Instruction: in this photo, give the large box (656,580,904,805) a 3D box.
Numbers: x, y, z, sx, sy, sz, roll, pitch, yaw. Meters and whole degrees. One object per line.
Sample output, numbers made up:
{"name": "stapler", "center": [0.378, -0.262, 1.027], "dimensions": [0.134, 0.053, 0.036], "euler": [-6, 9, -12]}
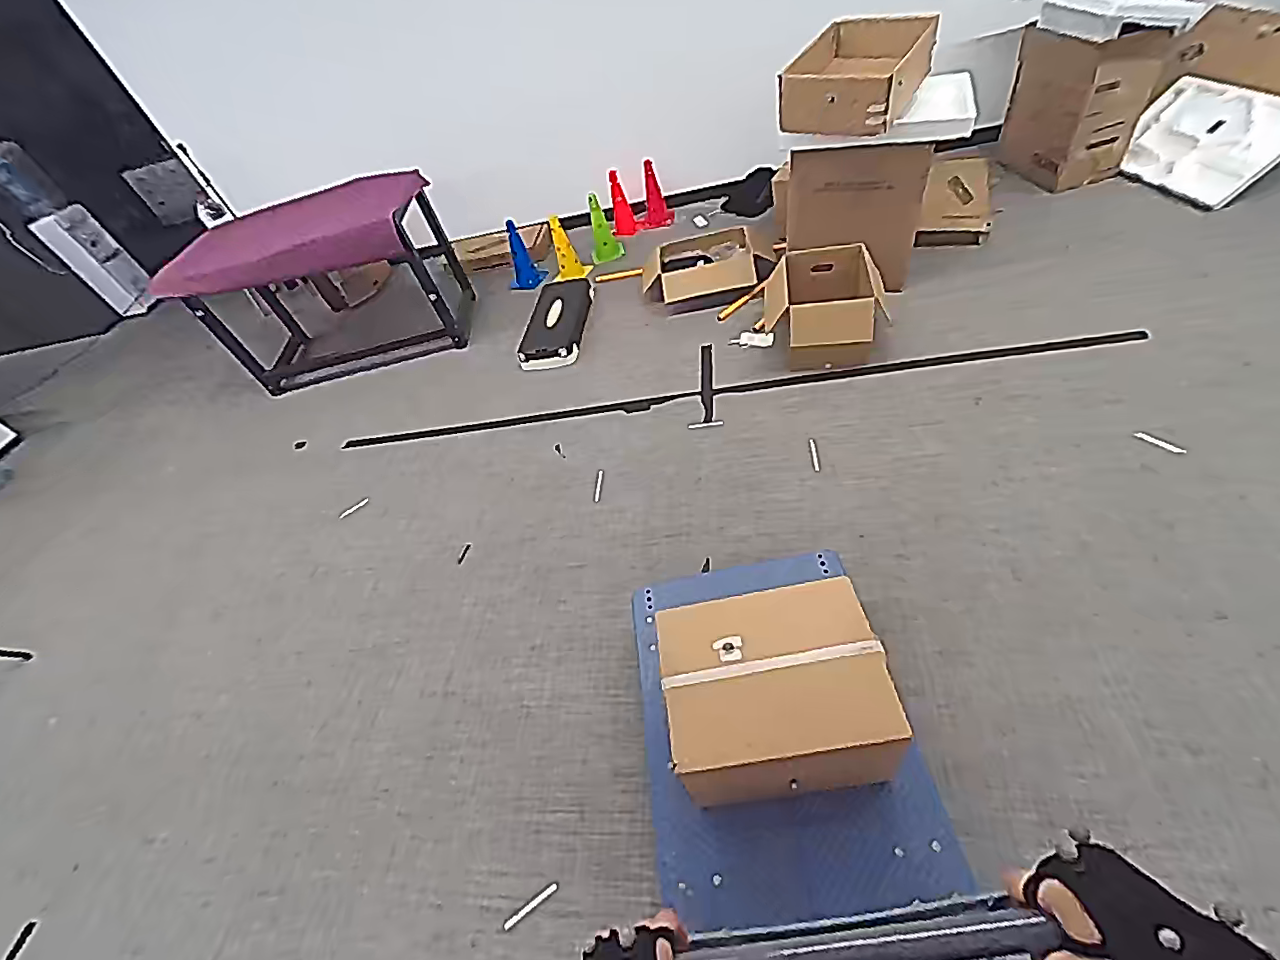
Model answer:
{"name": "large box", "center": [0.276, 0.456, 1.140], "dimensions": [0.408, 0.320, 0.320], "euler": [-13, 47, 6]}
